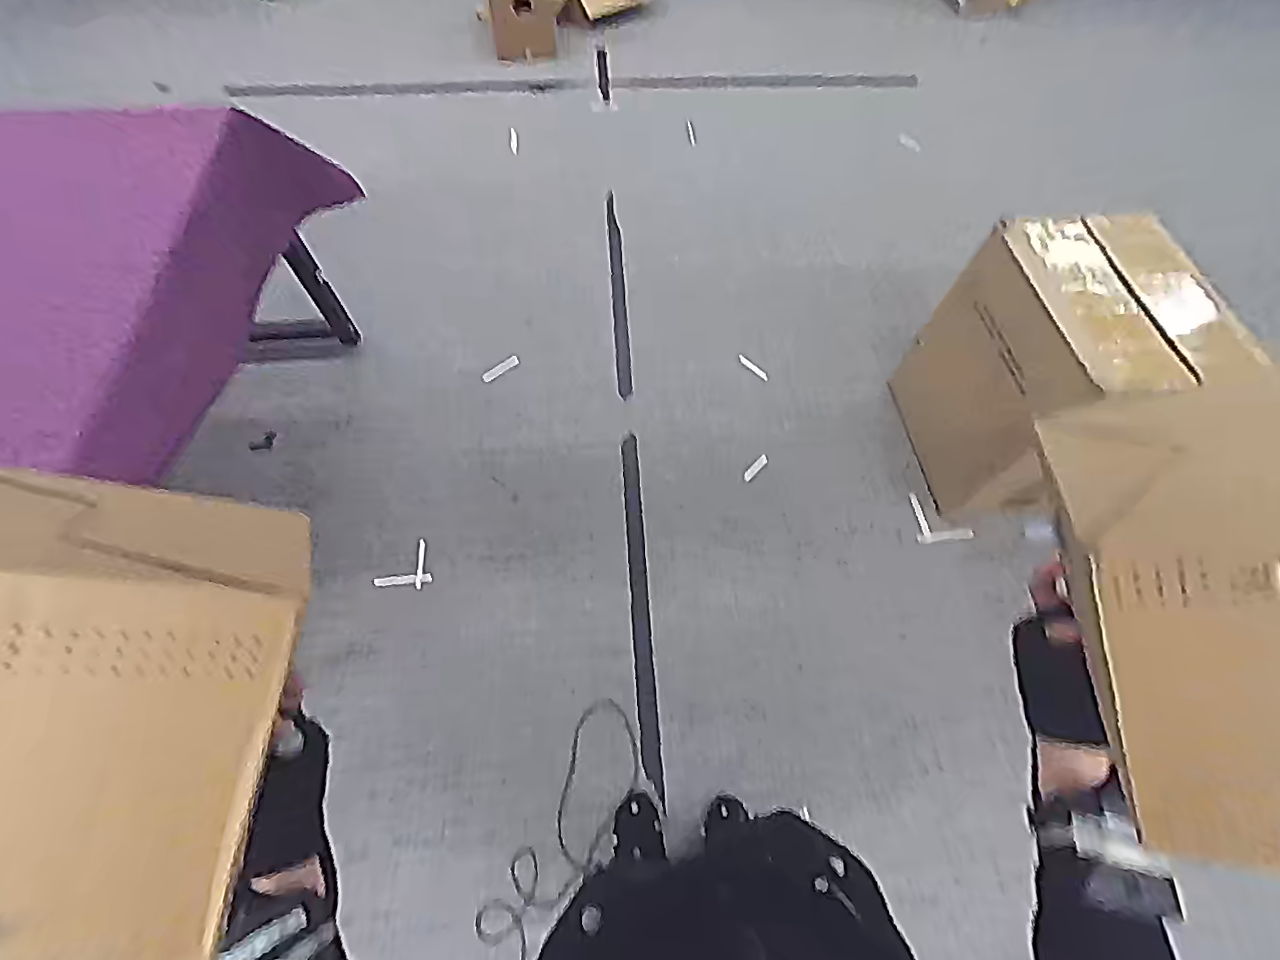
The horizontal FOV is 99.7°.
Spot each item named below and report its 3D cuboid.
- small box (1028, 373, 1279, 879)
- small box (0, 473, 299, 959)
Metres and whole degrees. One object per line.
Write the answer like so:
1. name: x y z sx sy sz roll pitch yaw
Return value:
1. small box: 0.304 0.053 0.256 0.179 0.168 0.176 -40 111 -53
2. small box: -0.266 0.098 0.240 0.179 0.168 0.176 15 89 -32
